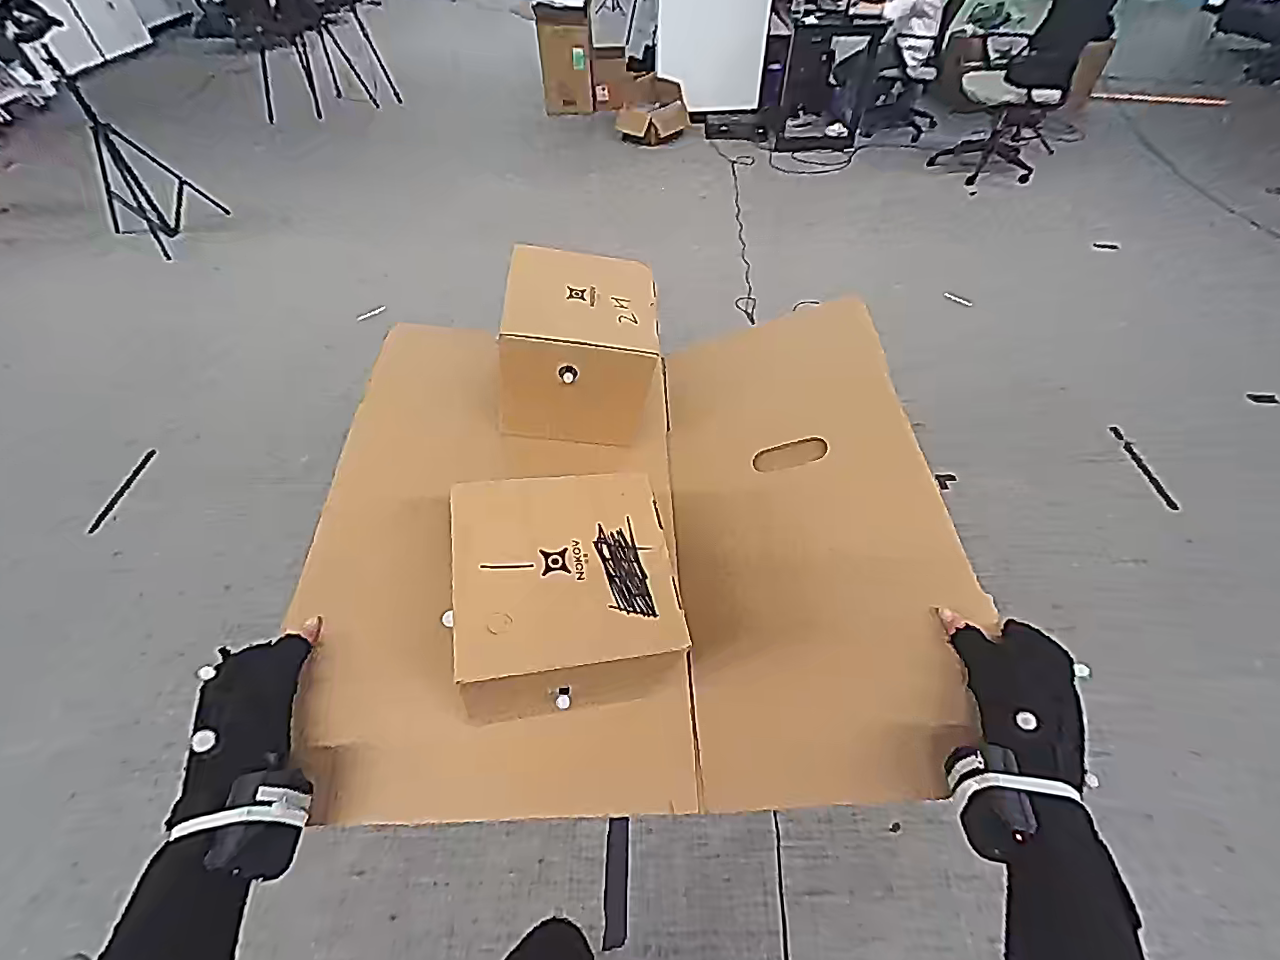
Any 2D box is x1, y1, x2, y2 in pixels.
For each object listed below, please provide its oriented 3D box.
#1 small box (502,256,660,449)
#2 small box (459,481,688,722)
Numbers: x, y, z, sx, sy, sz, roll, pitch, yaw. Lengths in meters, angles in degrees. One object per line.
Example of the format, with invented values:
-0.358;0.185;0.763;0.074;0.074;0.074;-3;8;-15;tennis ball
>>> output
-0.079;-0.157;0.700;0.179;0.176;0.168;6;55;-10;small box
-0.074;0.116;0.510;0.179;0.176;0.168;-3;57;-15;small box
